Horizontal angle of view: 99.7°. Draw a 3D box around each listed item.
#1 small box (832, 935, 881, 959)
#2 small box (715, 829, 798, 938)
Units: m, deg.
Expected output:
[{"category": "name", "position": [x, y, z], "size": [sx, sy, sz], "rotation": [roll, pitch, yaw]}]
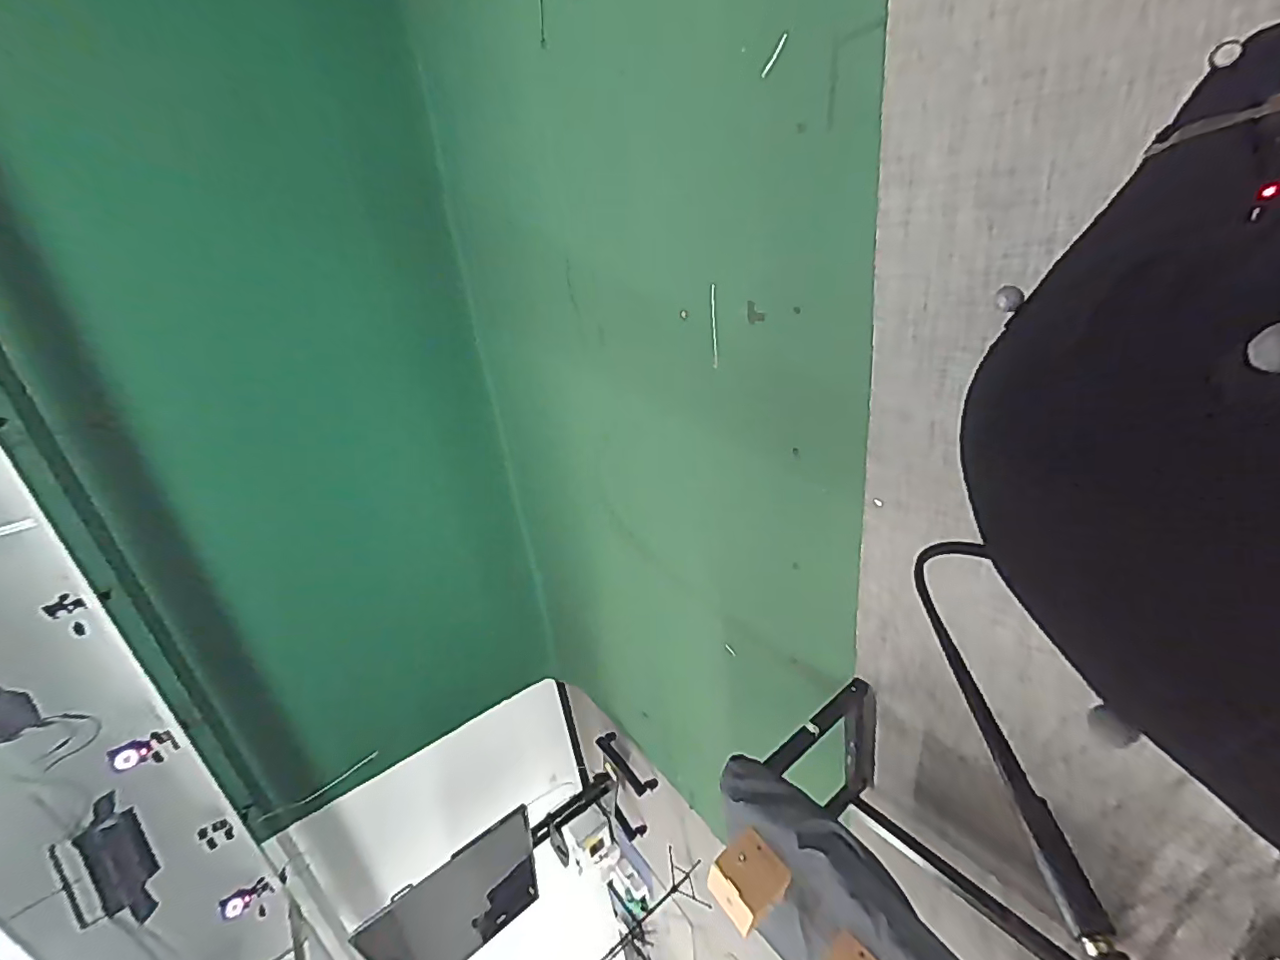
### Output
[{"category": "small box", "position": [0.554, 1.305, 1.350], "size": [0.168, 0.176, 0.179], "rotation": [24, 130, 49]}, {"category": "small box", "position": [0.344, 1.187, 1.601], "size": [0.168, 0.176, 0.179], "rotation": [37, 140, 41]}]
